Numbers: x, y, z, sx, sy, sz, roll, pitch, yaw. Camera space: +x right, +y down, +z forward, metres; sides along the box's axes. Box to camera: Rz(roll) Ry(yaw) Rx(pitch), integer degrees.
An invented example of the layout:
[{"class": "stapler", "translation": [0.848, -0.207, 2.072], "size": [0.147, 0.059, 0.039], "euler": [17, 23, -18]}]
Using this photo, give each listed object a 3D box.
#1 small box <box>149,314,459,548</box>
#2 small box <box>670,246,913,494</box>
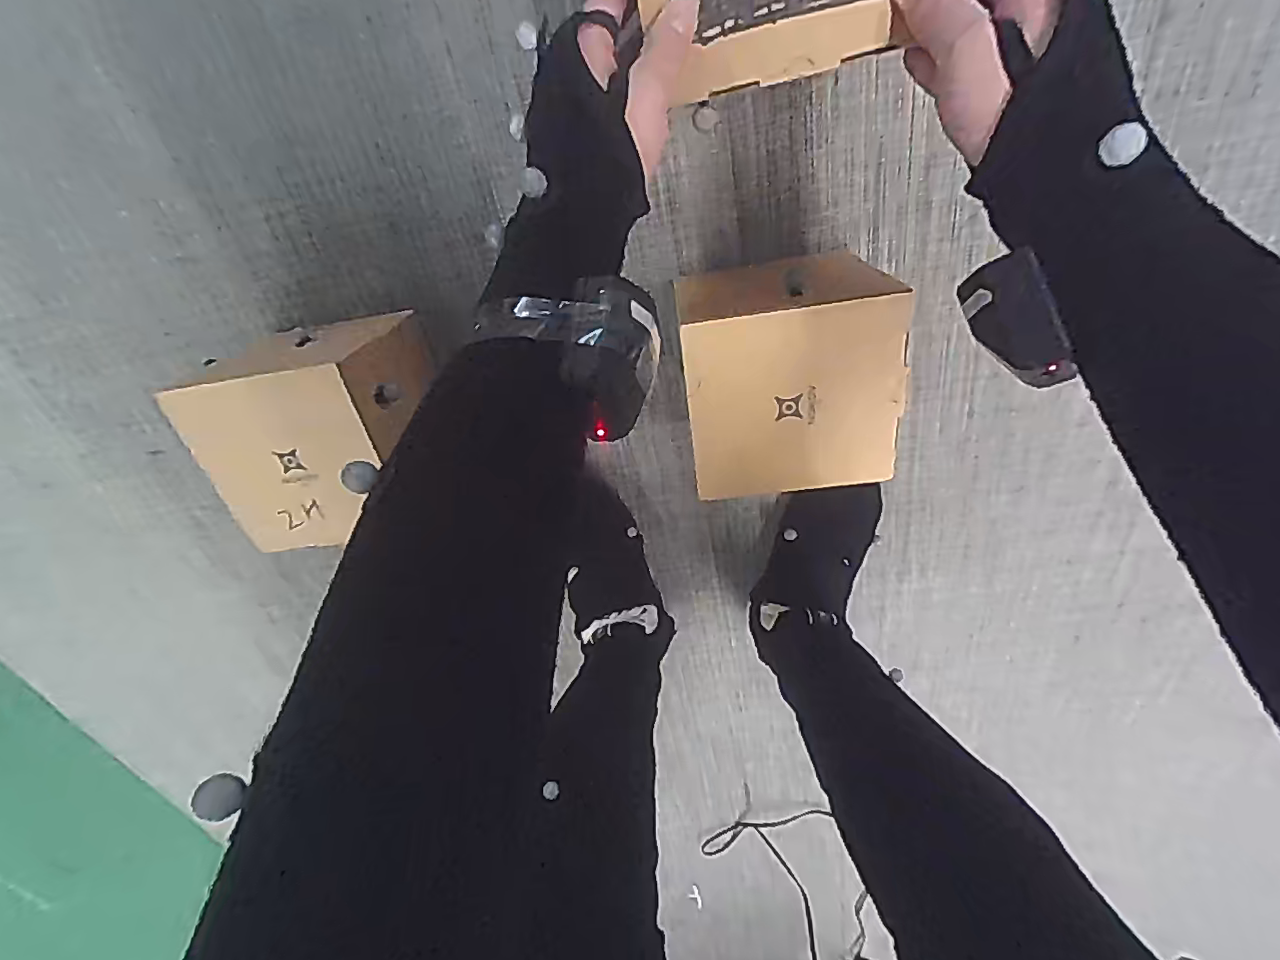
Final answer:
[{"class": "small box", "translation": [-0.307, -0.057, 0.543], "size": [0.168, 0.176, 0.179], "euler": [-7, 121, 7]}, {"class": "small box", "translation": [0.123, -0.107, 0.500], "size": [0.179, 0.176, 0.168], "euler": [-7, 121, 5]}]
